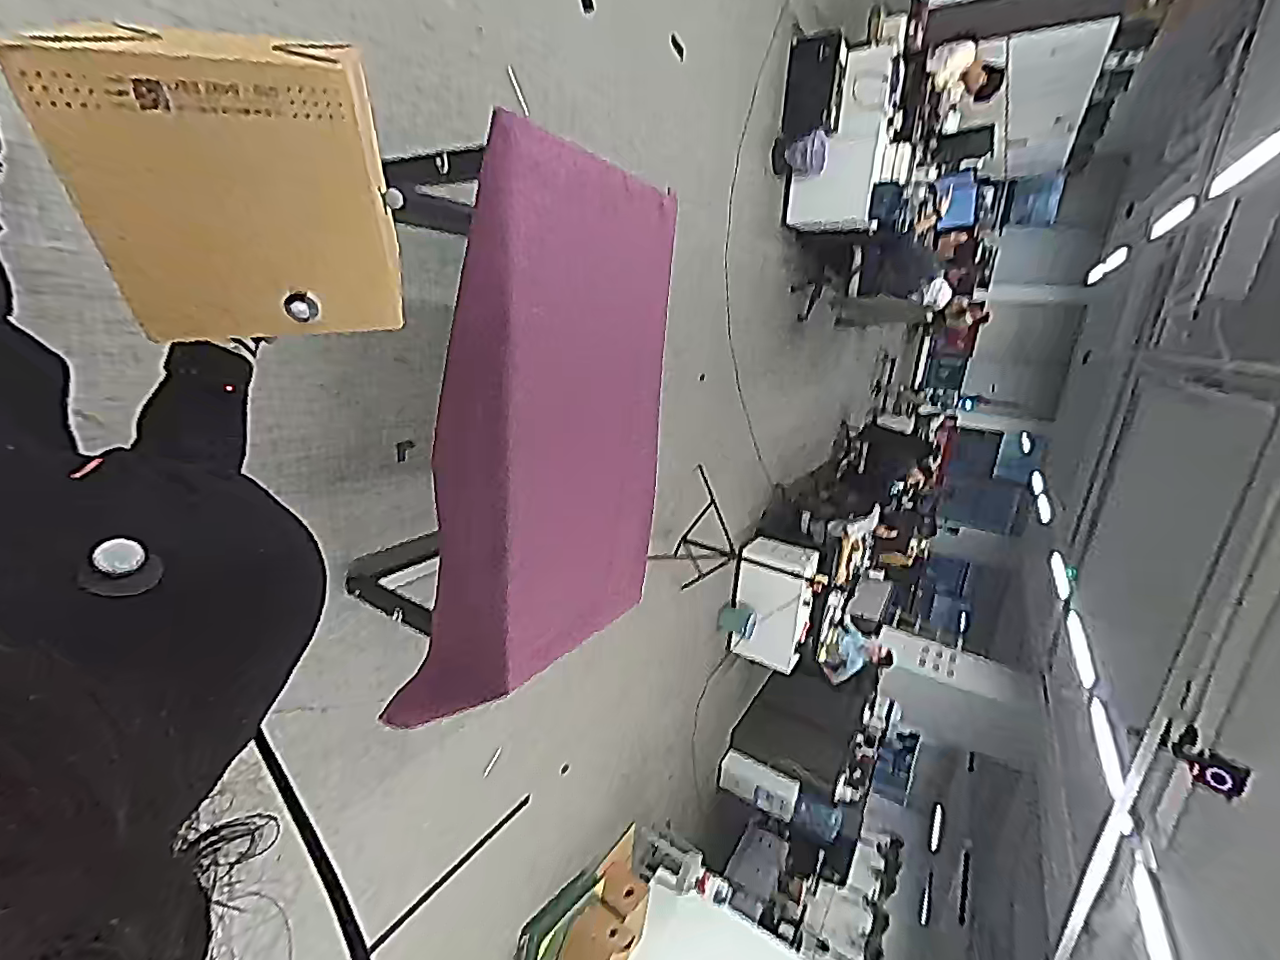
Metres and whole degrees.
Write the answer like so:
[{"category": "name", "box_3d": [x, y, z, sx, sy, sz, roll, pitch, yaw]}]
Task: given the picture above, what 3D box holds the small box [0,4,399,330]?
[{"category": "small box", "box_3d": [-0.282, -0.230, 0.398, 0.168, 0.179, 0.176, -9, 134, -17]}]
